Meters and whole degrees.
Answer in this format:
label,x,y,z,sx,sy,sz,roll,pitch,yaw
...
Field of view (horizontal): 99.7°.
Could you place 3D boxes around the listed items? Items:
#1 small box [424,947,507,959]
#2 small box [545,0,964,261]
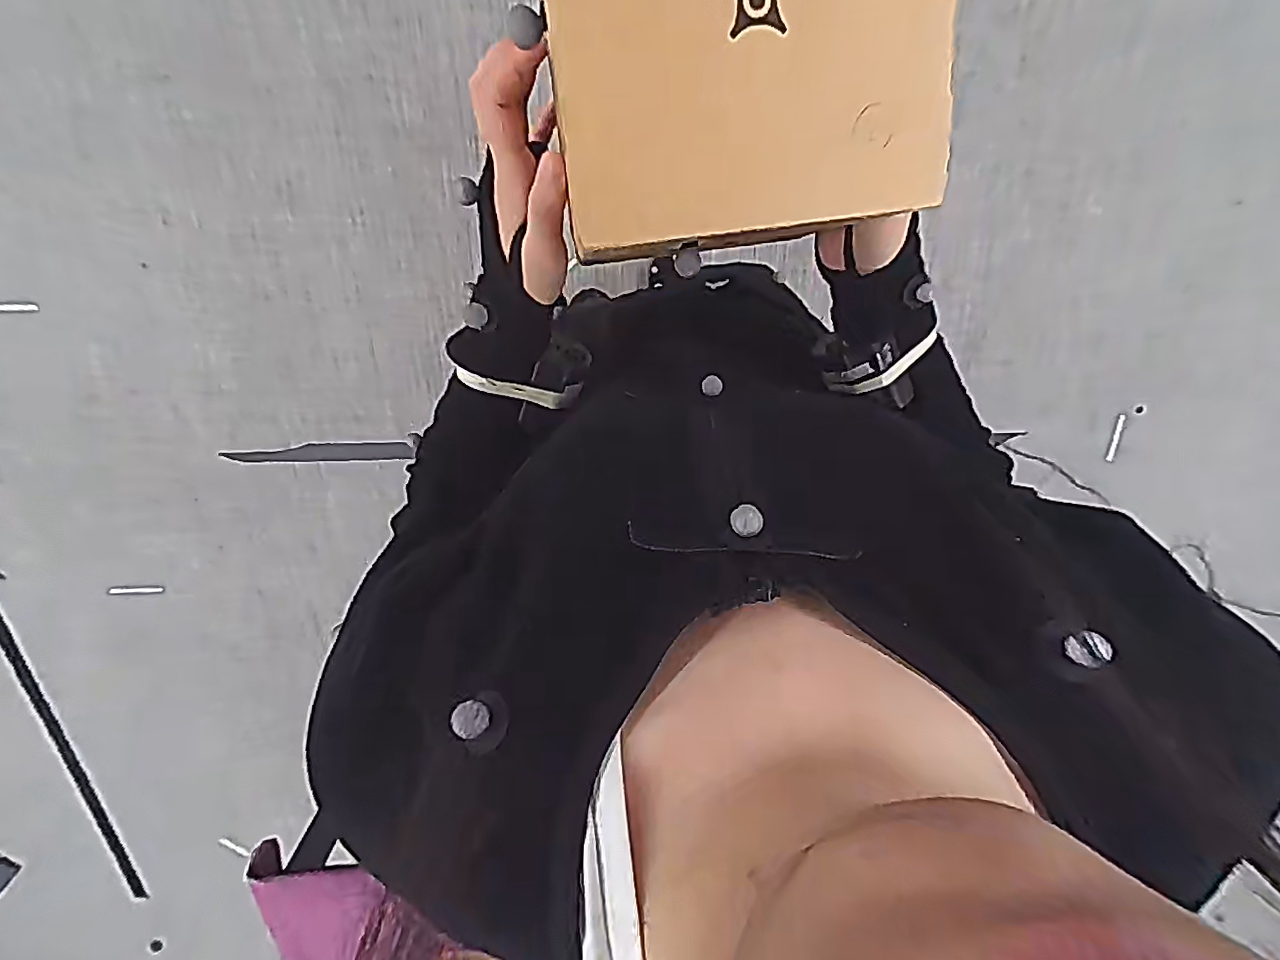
label,x,y,z,sx,sy,sz,roll,pitch,yaw
small box,-0.356,1.059,1.052,0.168,0.176,0.179,3,110,-4
small box,0.039,-0.215,0.282,0.168,0.176,0.179,-8,109,-3
